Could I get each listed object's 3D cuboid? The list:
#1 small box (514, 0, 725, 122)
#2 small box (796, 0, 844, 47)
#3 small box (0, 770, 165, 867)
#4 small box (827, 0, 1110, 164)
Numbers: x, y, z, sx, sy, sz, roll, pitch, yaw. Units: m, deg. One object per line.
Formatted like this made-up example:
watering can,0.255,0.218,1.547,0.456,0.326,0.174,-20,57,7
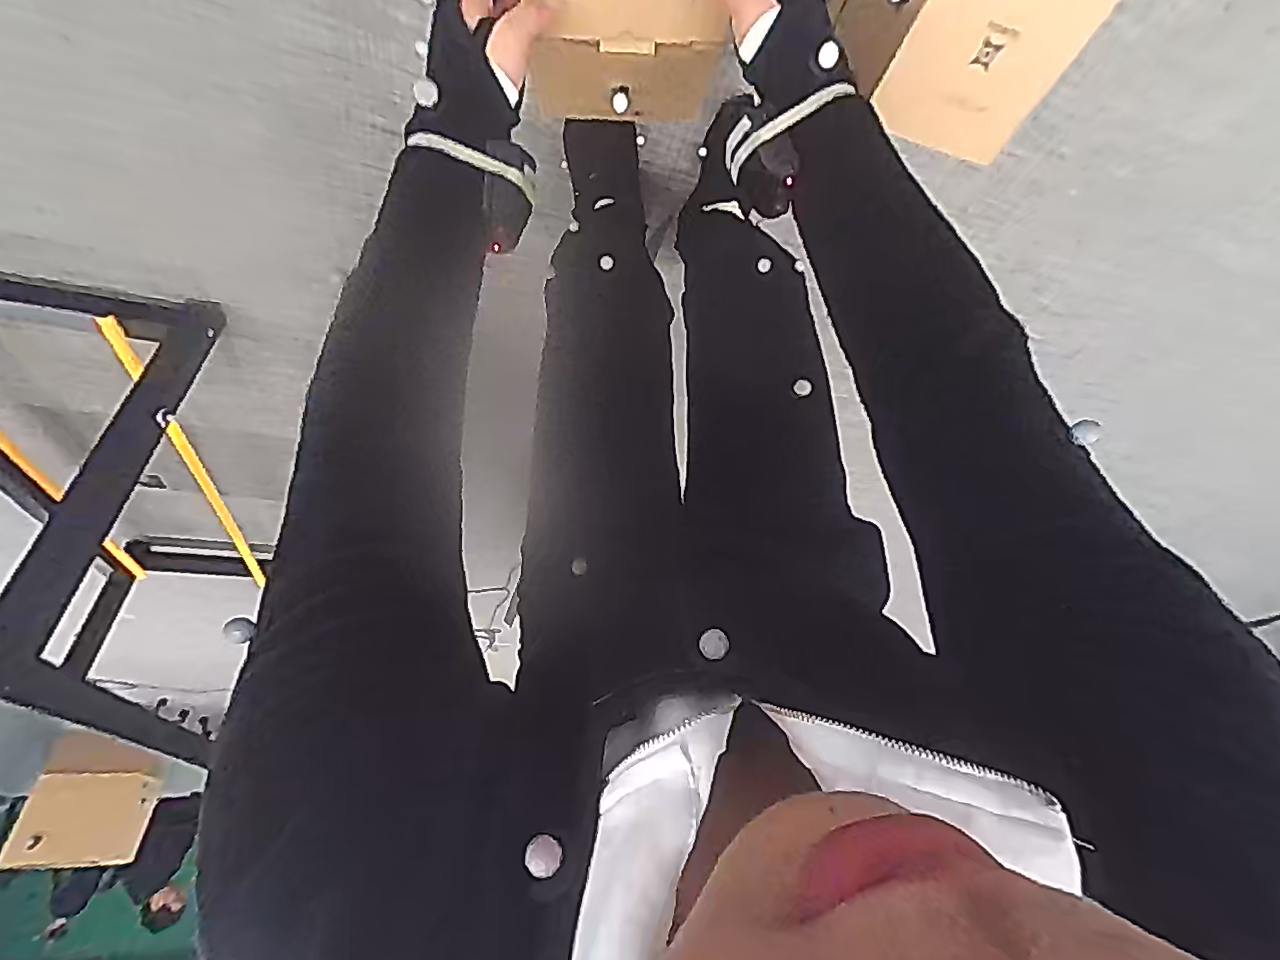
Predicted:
small box,-0.020,-0.439,0.475,0.168,0.176,0.179,-2,107,-5
small box,0.309,-0.601,0.635,0.179,0.176,0.168,8,145,-19
small box,-1.217,0.750,1.198,0.179,0.176,0.168,8,145,-17
small box,0.313,-0.467,0.543,0.168,0.176,0.179,7,146,-14
